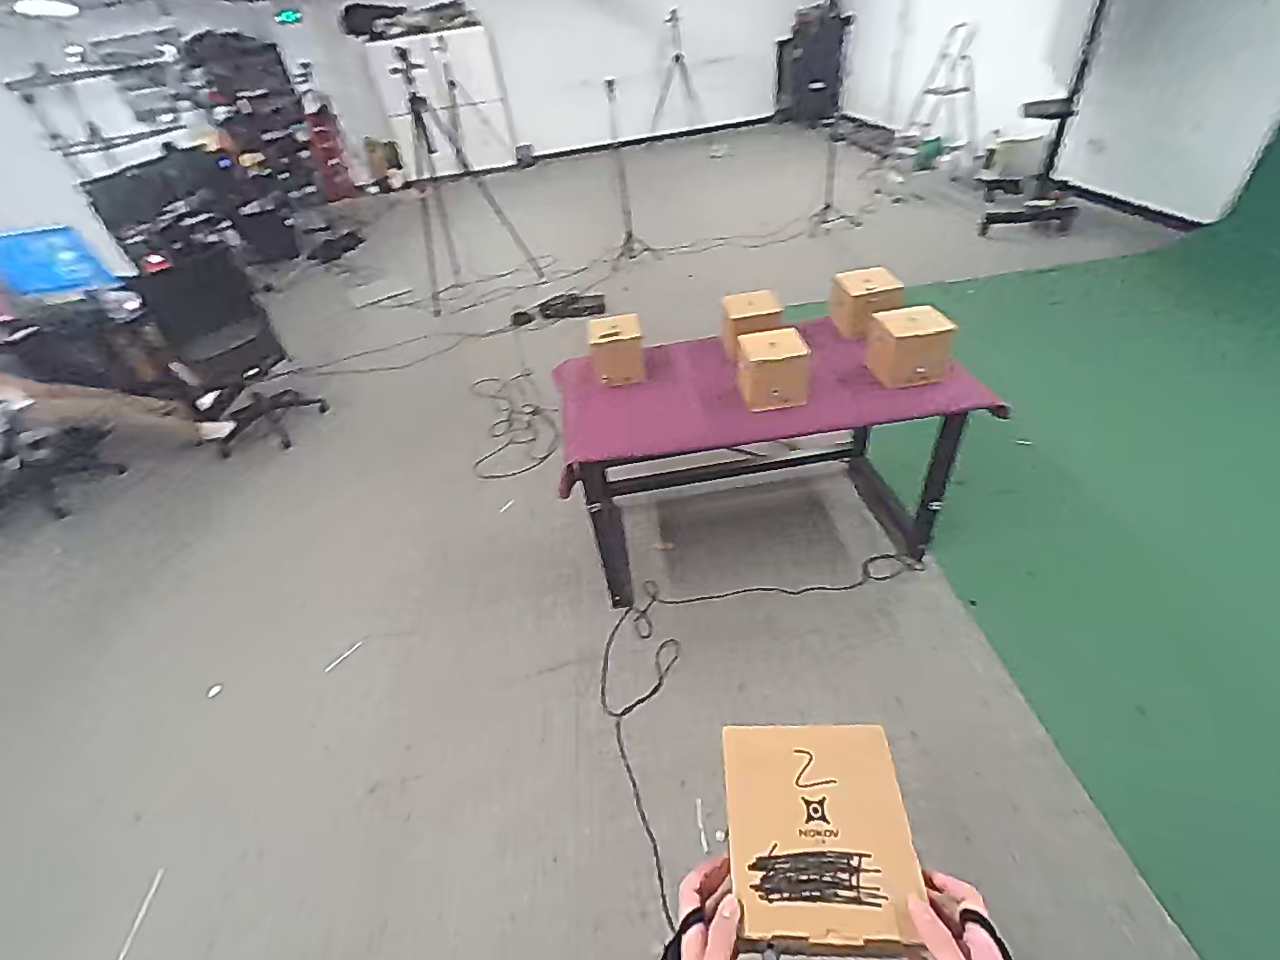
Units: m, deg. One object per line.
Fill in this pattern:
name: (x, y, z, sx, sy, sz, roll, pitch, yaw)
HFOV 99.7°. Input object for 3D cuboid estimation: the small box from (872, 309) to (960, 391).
small box: (0.805, -0.384, 1.598, 0.168, 0.176, 0.179, -8, 39, 3)

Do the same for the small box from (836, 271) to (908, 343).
small box: (0.781, -0.590, 1.844, 0.168, 0.176, 0.179, -10, 41, 2)

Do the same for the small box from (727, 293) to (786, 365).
small box: (0.390, -0.513, 1.836, 0.168, 0.176, 0.179, -8, 42, 2)

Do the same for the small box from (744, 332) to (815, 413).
small box: (0.406, -0.319, 1.606, 0.168, 0.176, 0.179, -7, 39, 2)

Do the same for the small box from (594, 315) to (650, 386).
small box: (-0.059, -0.429, 1.820, 0.168, 0.176, 0.179, -8, 41, 1)
